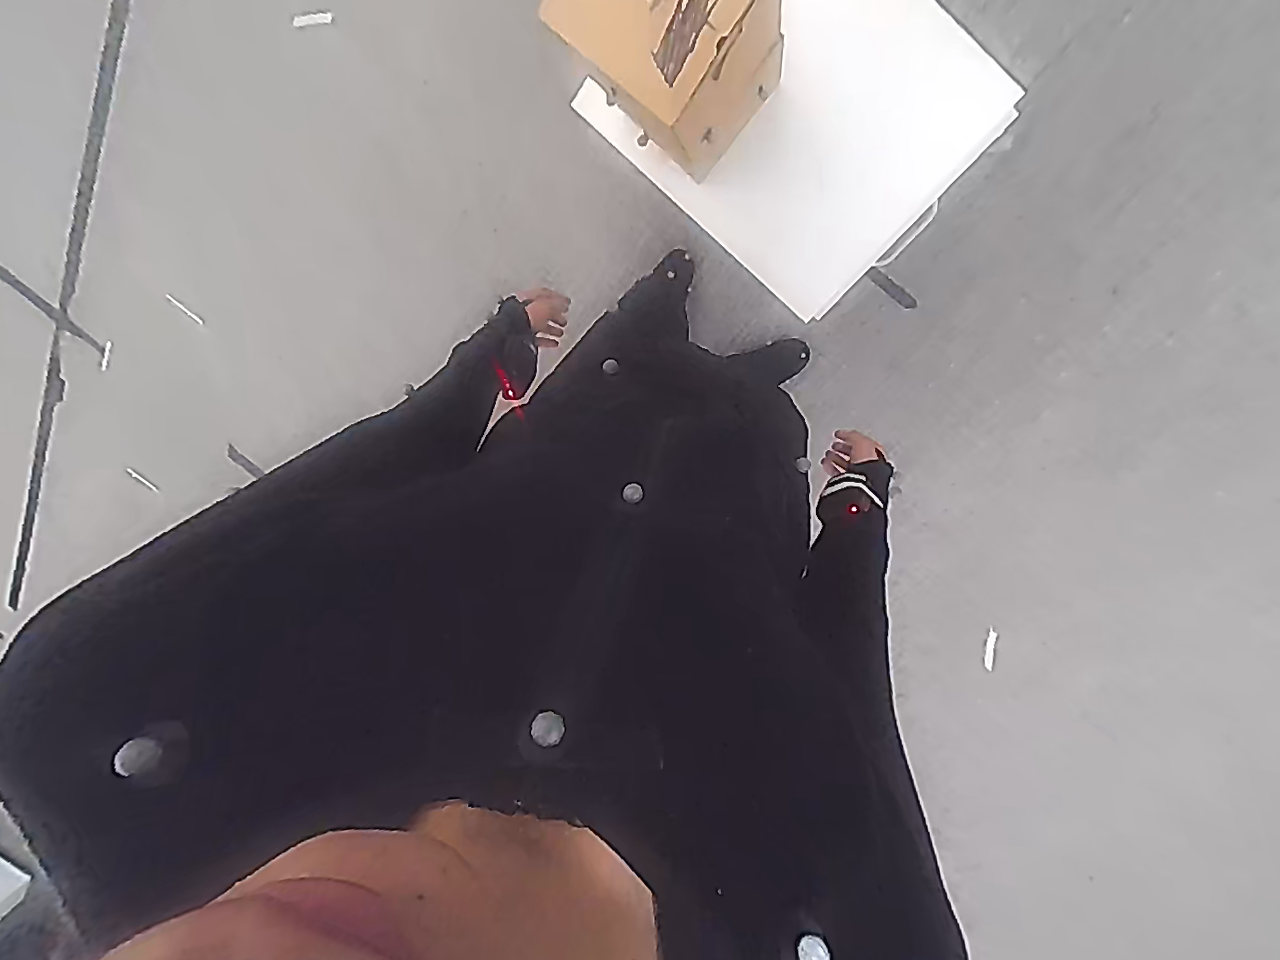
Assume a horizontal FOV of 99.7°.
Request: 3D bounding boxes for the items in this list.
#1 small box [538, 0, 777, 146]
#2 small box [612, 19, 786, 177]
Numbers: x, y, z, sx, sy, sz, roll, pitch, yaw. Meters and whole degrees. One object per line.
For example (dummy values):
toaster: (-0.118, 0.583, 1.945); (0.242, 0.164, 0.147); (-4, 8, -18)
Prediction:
small box: (0.031, -0.490, 0.574); (0.179, 0.176, 0.168); (39, 113, -2)
small box: (0.070, -0.545, 0.723); (0.168, 0.176, 0.179); (42, 114, -5)
